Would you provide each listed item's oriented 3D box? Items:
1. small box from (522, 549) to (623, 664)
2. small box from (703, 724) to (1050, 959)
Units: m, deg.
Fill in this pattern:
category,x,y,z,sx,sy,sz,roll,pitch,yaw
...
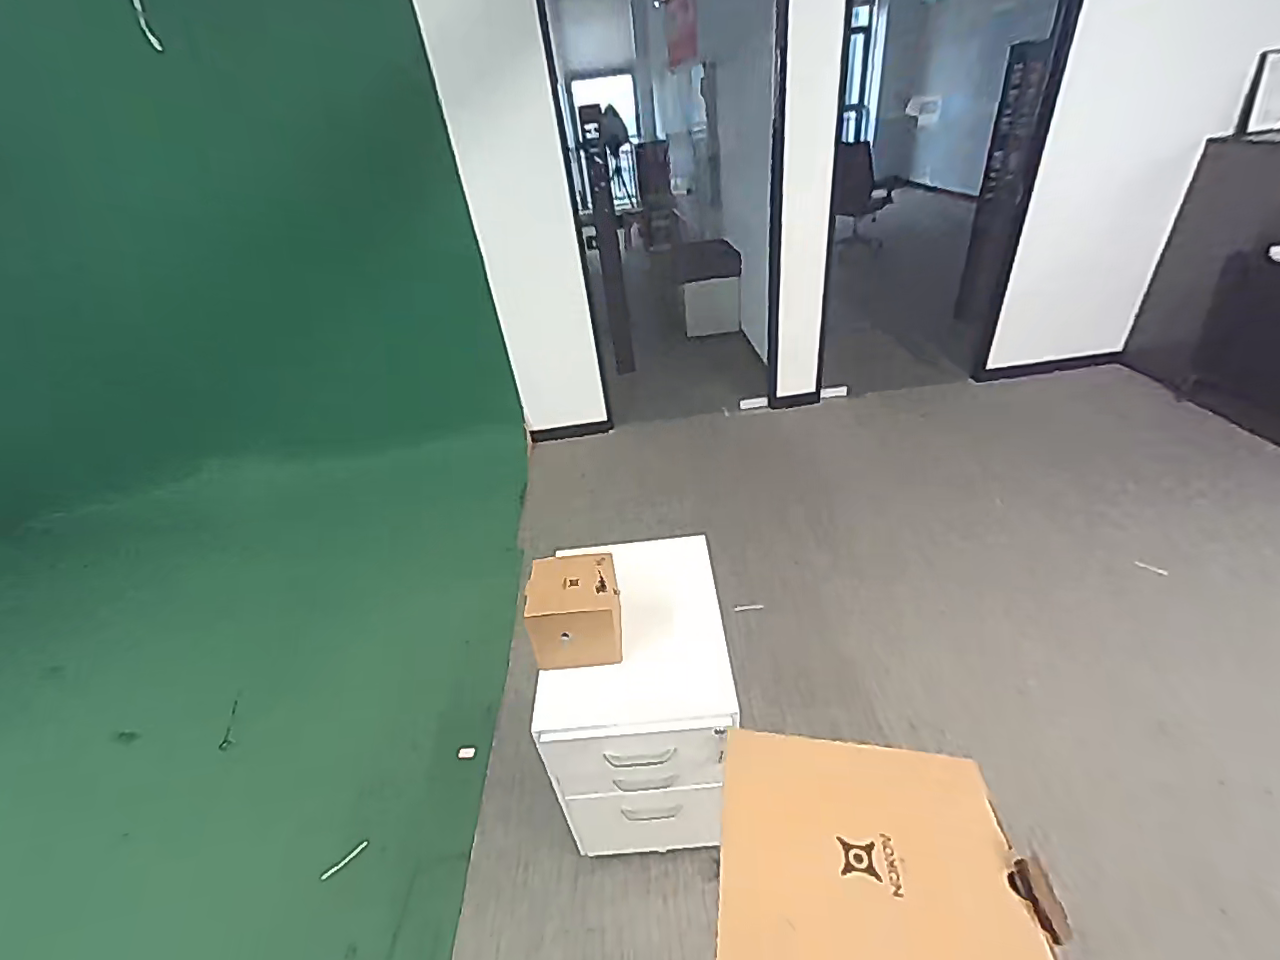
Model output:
category,x,y,z,sx,sy,sz,roll,pitch,yaw
small box,-0.134,0.270,1.141,0.179,0.176,0.168,-6,35,1
small box,0.135,0.297,0.359,0.179,0.176,0.168,3,26,10
